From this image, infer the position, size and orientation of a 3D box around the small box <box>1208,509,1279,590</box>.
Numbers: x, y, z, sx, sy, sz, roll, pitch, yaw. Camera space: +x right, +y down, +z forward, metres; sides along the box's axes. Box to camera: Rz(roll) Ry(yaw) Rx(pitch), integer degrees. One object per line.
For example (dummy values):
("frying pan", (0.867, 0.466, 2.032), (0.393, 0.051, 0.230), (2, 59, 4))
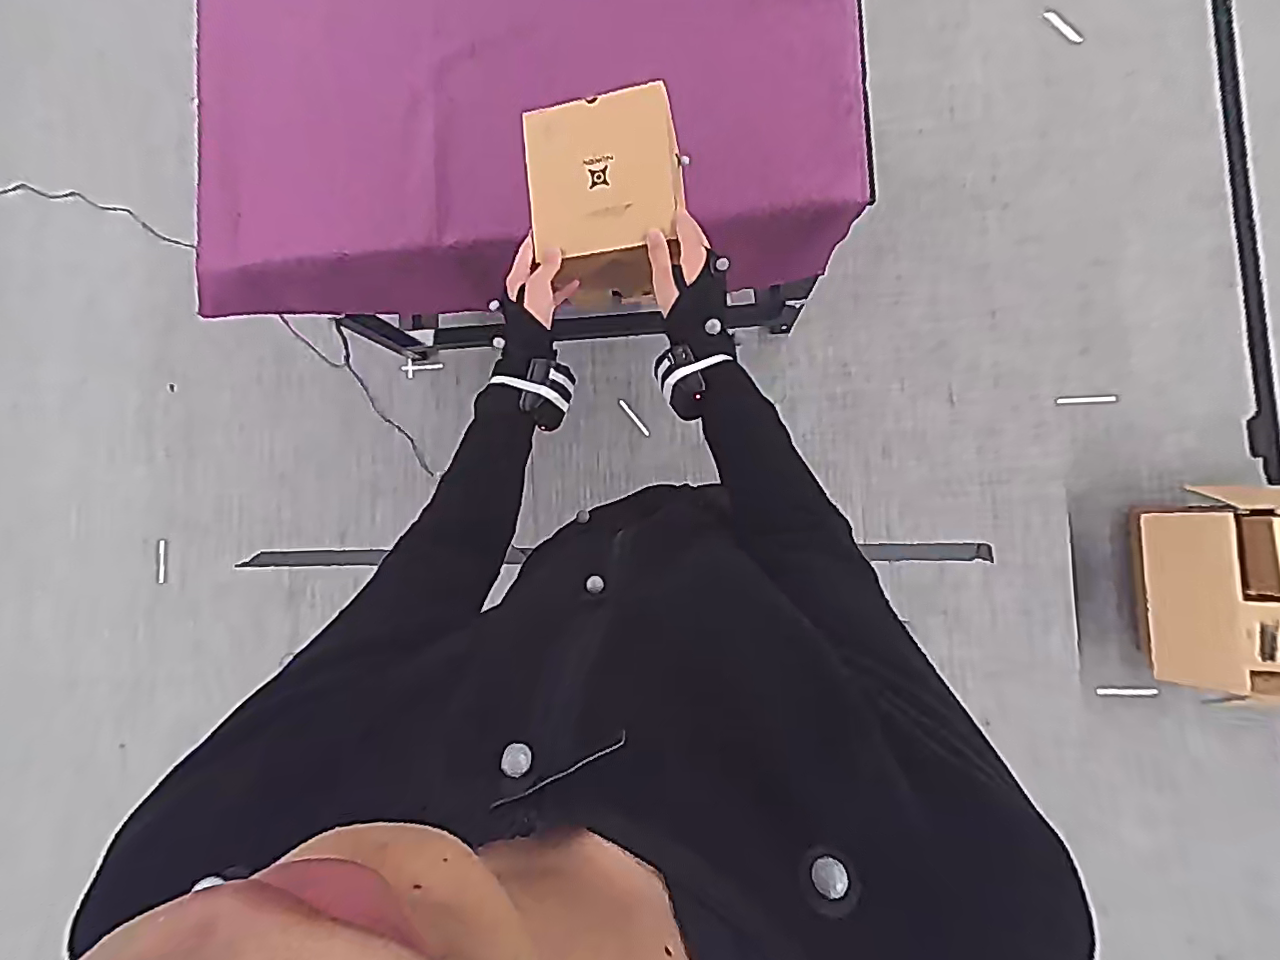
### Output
("small box", (1.424, 0.151, 1.201), (0.179, 0.176, 0.168), (-4, 88, 7))

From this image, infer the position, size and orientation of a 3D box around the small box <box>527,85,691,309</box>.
("small box", (-0.030, -0.336, 0.676), (0.168, 0.176, 0.179), (-5, 88, 11))
